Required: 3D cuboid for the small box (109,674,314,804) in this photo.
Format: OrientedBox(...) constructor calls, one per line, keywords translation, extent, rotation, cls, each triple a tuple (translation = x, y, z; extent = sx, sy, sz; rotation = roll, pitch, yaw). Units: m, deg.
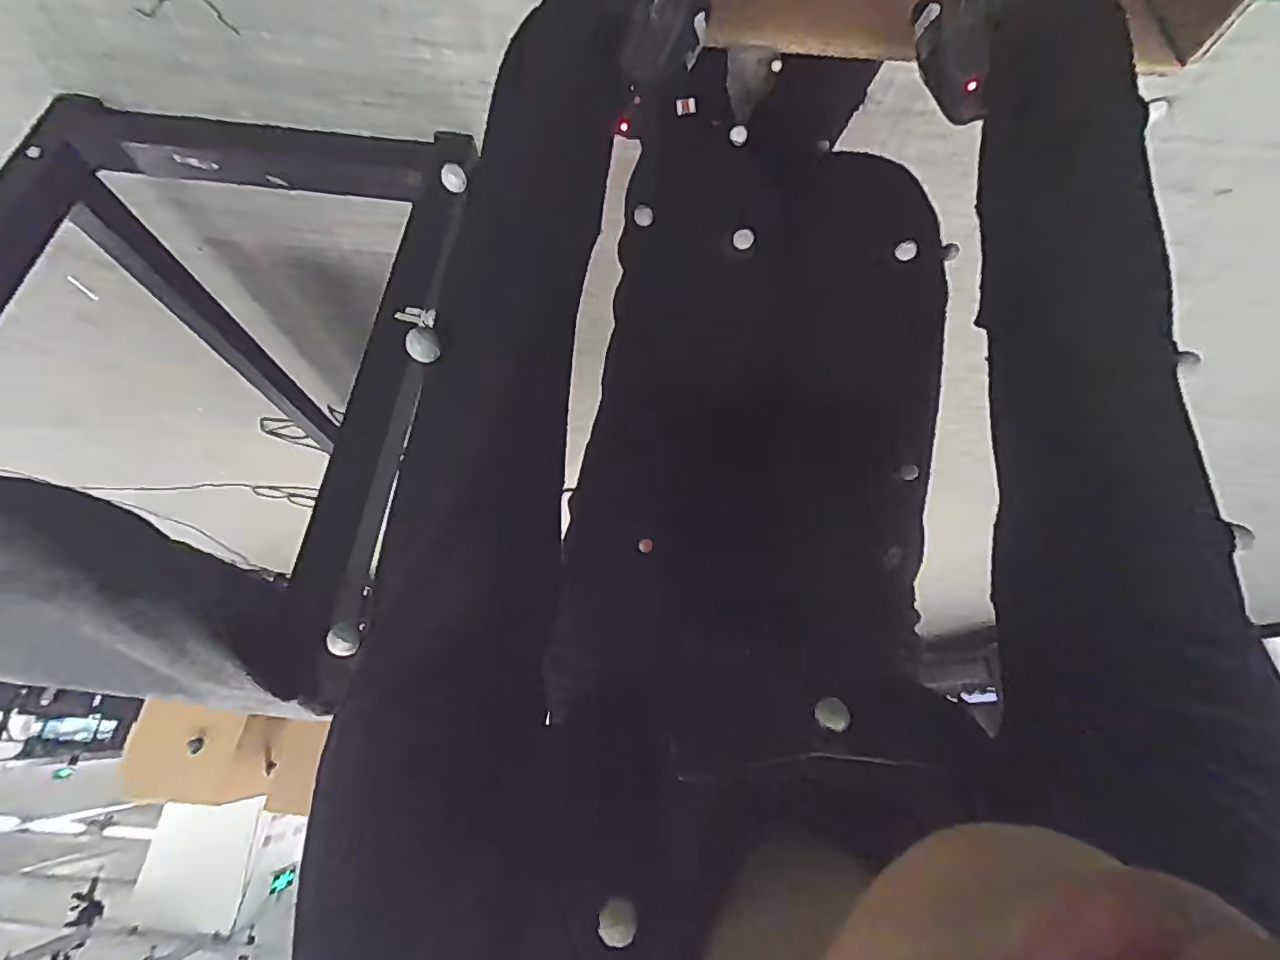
OrientedBox(translation=(-0.666, 0.406, 0.867), extent=(0.168, 0.176, 0.179), rotation=(3, 158, 2), cls="small box")
